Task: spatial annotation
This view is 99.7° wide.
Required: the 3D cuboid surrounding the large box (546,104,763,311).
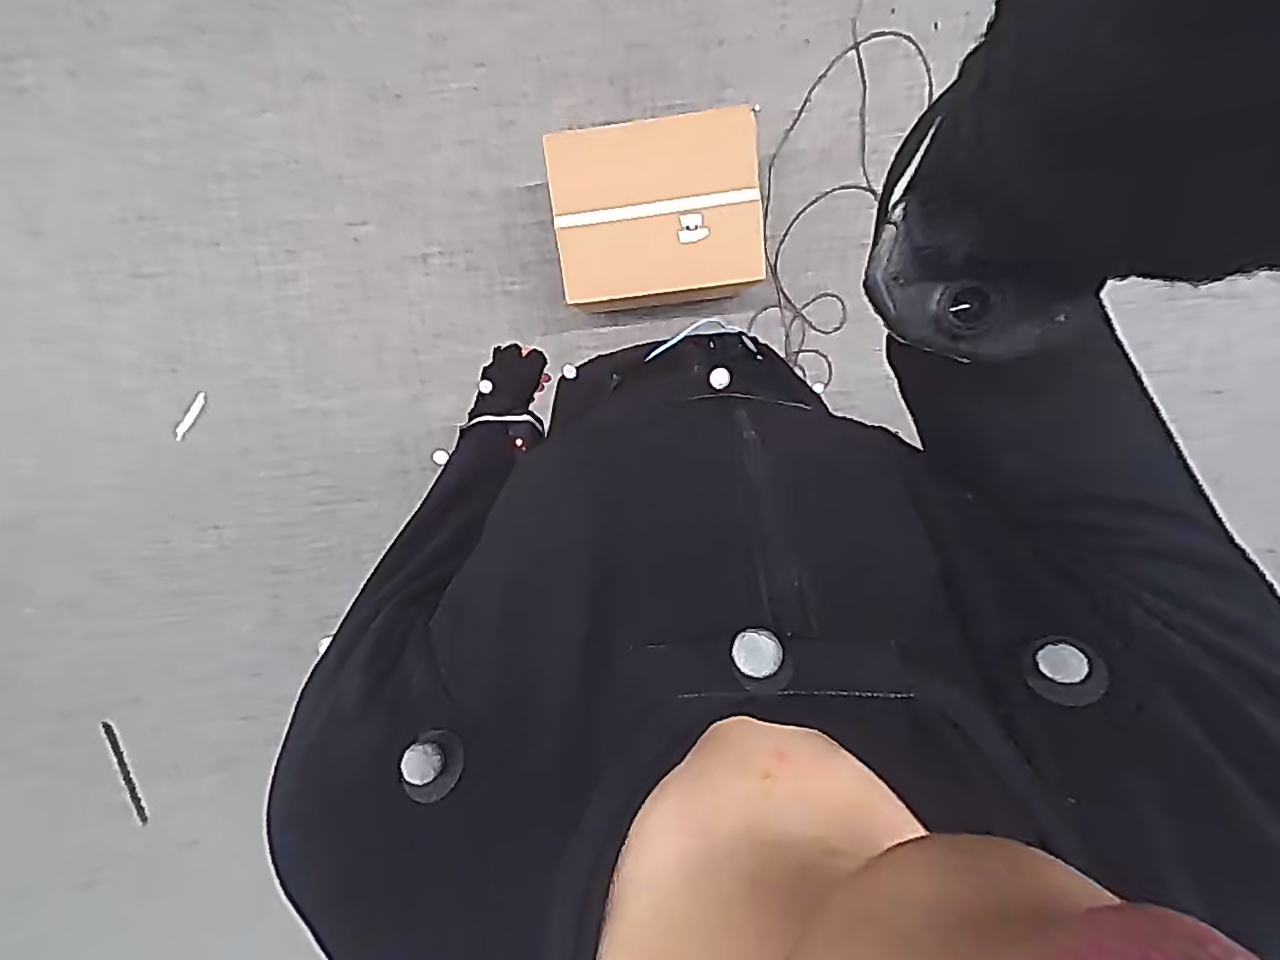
[{"bbox_3d":[0.034,-0.570,1.203,0.408,0.320,0.320,-6,104,2],"label":"large box"}]
